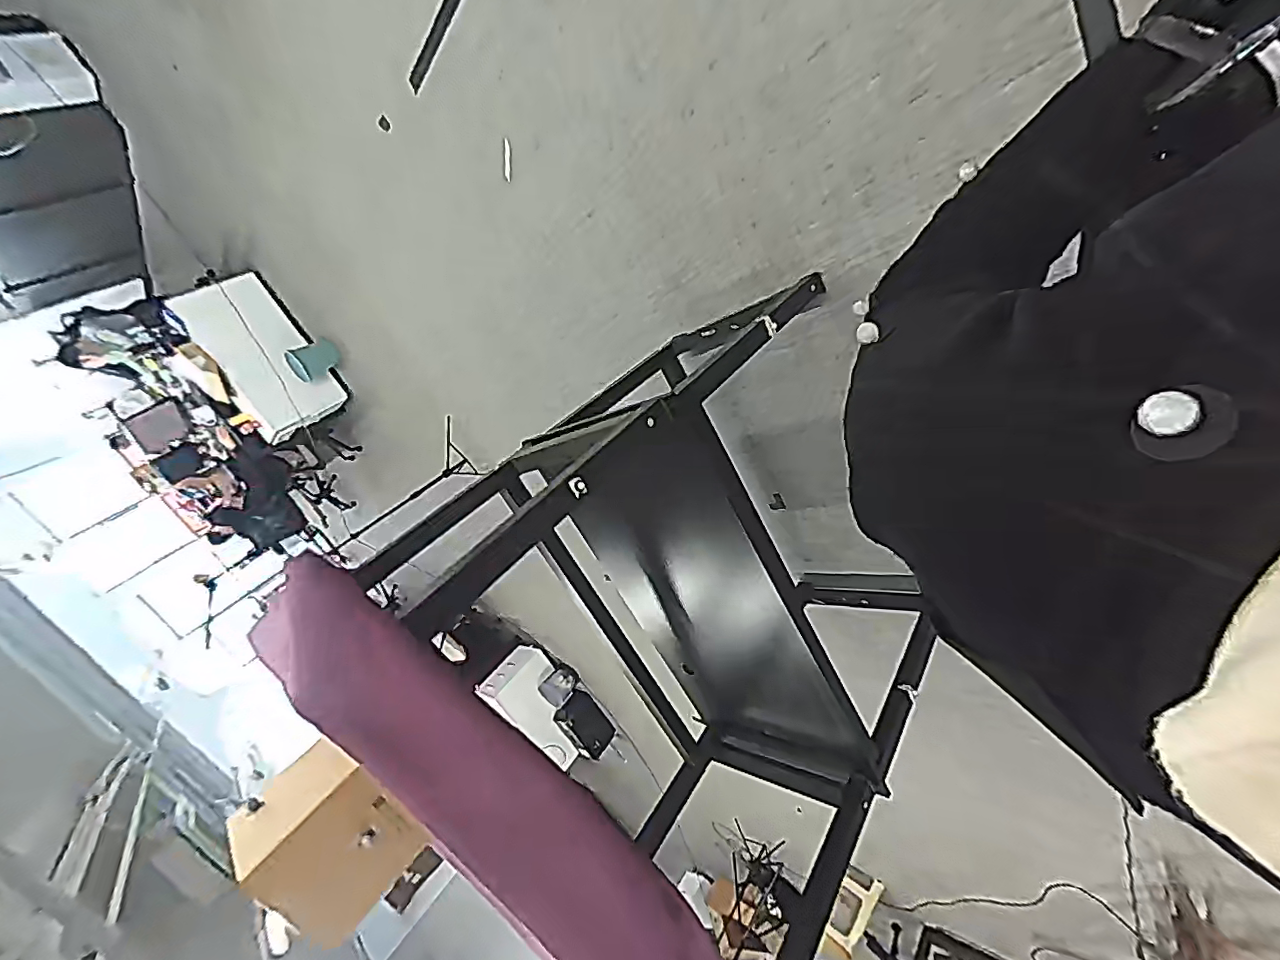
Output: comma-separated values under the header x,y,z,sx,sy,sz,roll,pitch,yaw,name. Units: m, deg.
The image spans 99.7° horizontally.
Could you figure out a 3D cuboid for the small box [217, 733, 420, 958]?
x,y,z,sx,sy,sz,roll,pitch,yaw,name
-0.442,0.489,0.755,0.179,0.176,0.168,-5,122,48,small box
